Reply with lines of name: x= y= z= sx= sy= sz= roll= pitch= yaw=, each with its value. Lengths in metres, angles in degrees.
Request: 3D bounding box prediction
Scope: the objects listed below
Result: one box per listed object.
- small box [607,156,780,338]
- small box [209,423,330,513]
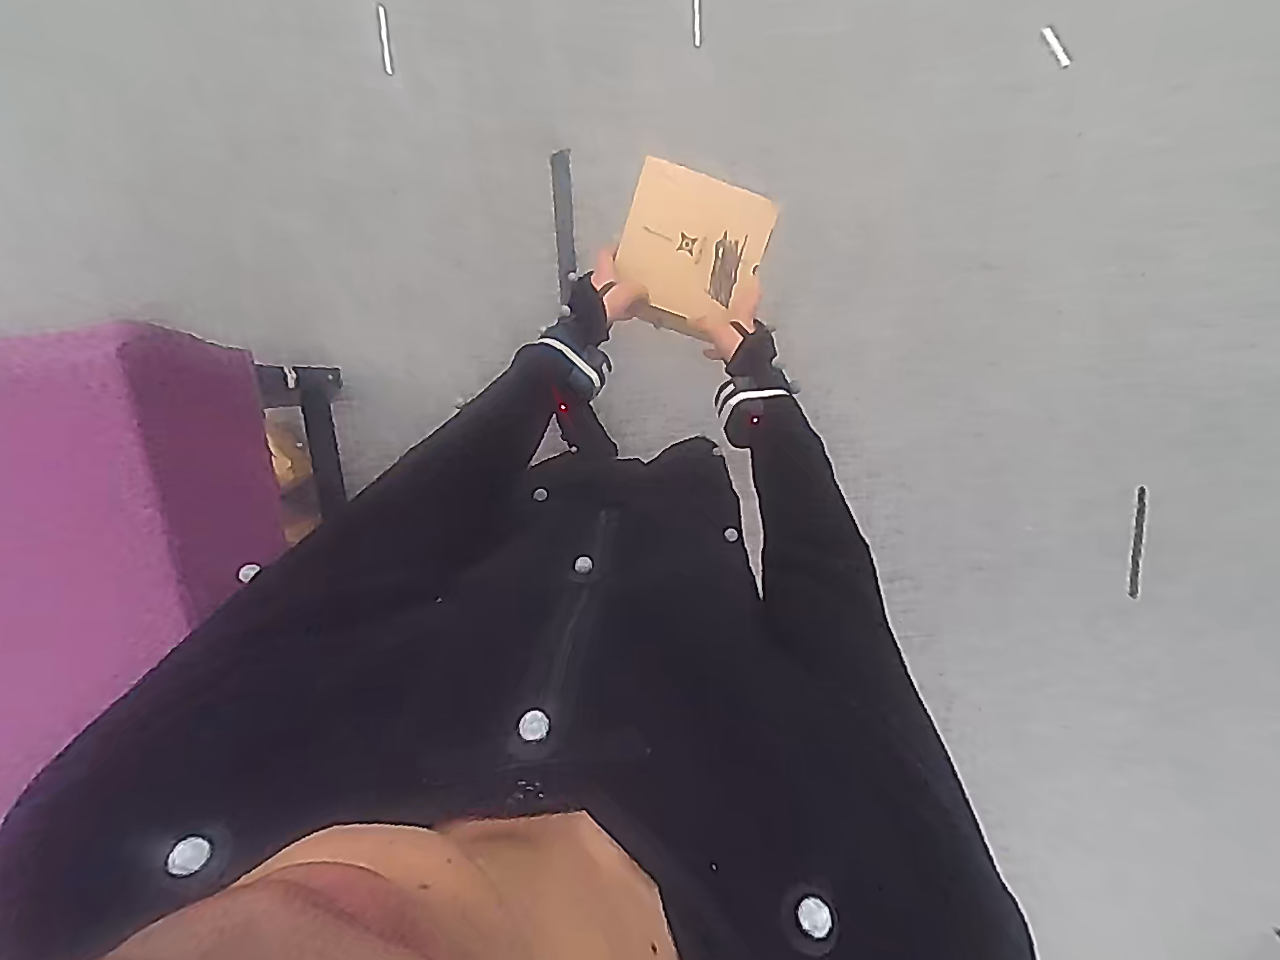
small box: x=0.061 y=-0.301 z=0.742 sx=0.179 sy=0.176 sz=0.168 roll=17 pitch=99 yaw=-6
small box: x=-0.993 y=-0.039 z=1.468 sx=0.179 sy=0.176 sz=0.168 roll=-33 pitch=102 yaw=3
